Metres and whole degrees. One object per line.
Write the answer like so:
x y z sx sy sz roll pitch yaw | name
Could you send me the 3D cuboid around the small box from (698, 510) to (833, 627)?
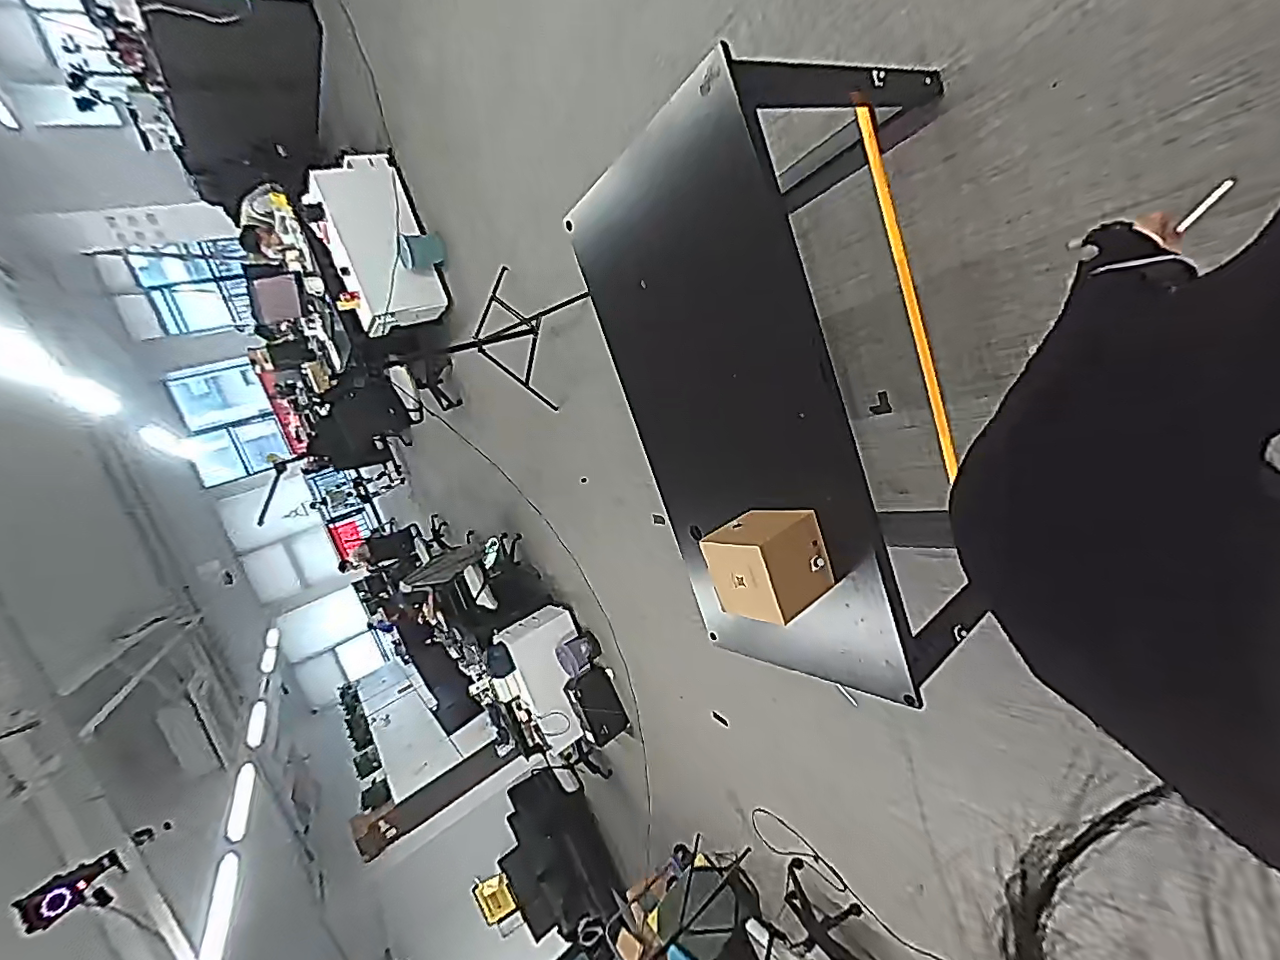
0.253 0.168 1.088 0.179 0.176 0.168 -6 107 57 | small box
